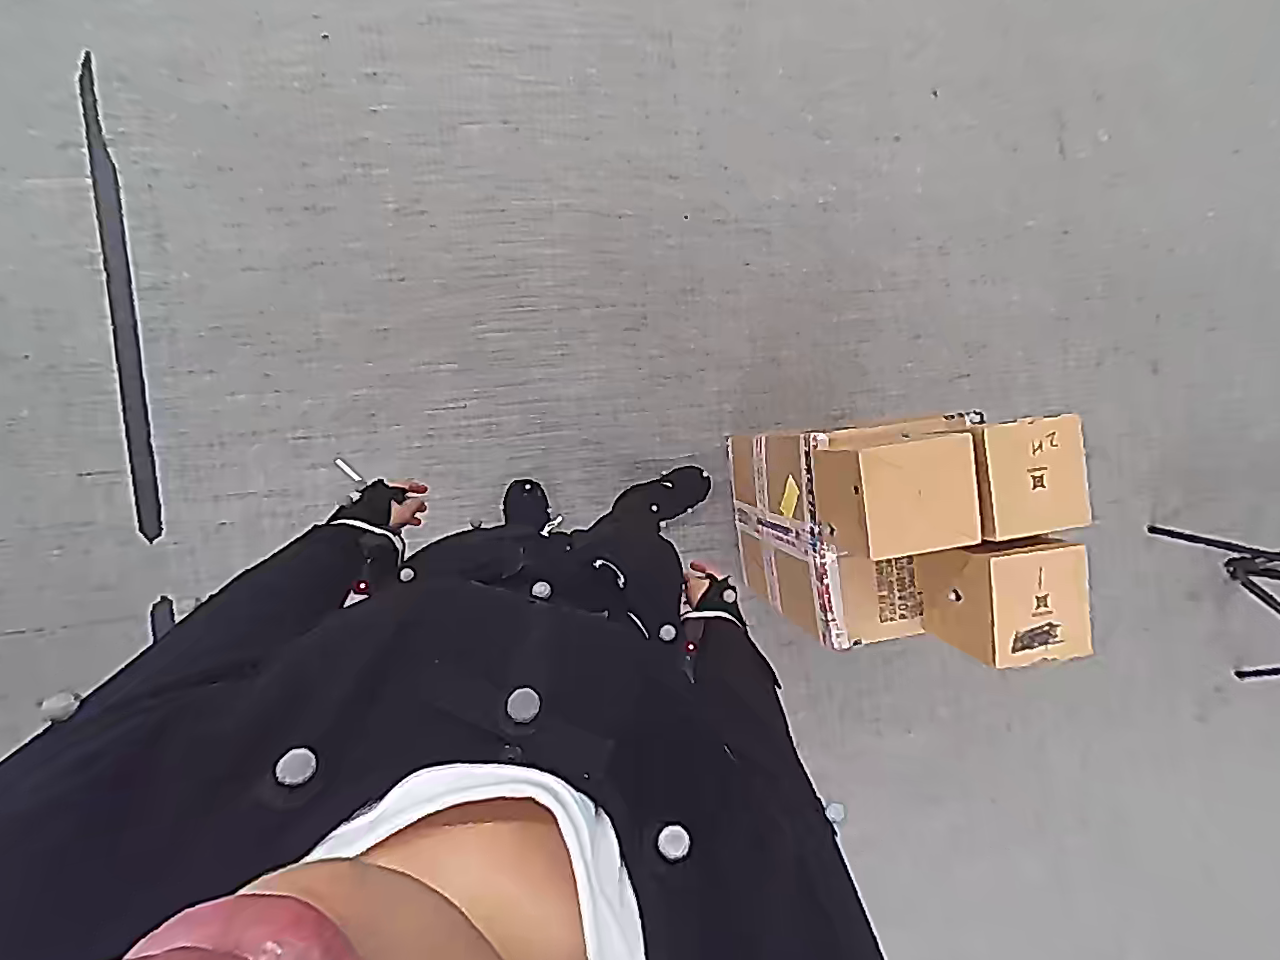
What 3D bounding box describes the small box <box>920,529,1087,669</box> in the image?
[{"bbox_3d":[0.595,0.189,0.903,0.168,0.176,0.179,-7,95,-7],"label":"small box"}]
